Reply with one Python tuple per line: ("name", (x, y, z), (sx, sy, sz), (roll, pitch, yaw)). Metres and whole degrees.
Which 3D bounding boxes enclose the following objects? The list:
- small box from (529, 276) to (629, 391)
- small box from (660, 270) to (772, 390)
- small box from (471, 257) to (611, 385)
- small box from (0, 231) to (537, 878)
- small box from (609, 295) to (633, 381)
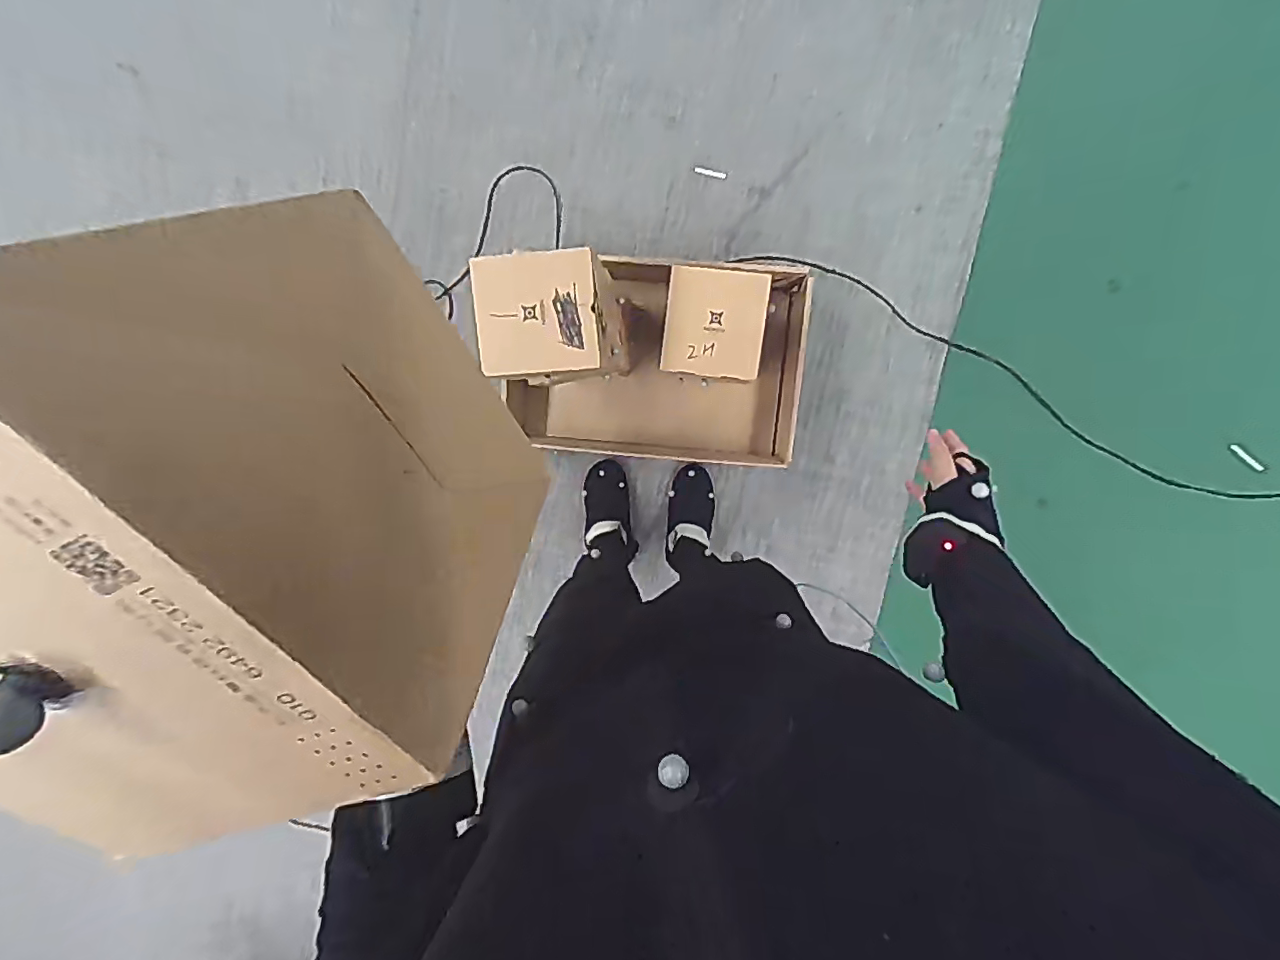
("small box", (-0.119, -0.263, 1.000), (0.179, 0.176, 0.168), (-11, 98, 5))
("small box", (0.130, -0.261, 0.975), (0.168, 0.176, 0.179), (8, 99, 4))
("small box", (-0.141, -0.236, 0.839), (0.179, 0.176, 0.168), (-3, 99, 5))
("small box", (-0.167, 0.022, 0.225), (0.176, 0.179, 0.168), (-22, 119, 17))
("small box", (-0.114, -0.304, 1.158), (0.179, 0.176, 0.168), (6, 99, 2))
